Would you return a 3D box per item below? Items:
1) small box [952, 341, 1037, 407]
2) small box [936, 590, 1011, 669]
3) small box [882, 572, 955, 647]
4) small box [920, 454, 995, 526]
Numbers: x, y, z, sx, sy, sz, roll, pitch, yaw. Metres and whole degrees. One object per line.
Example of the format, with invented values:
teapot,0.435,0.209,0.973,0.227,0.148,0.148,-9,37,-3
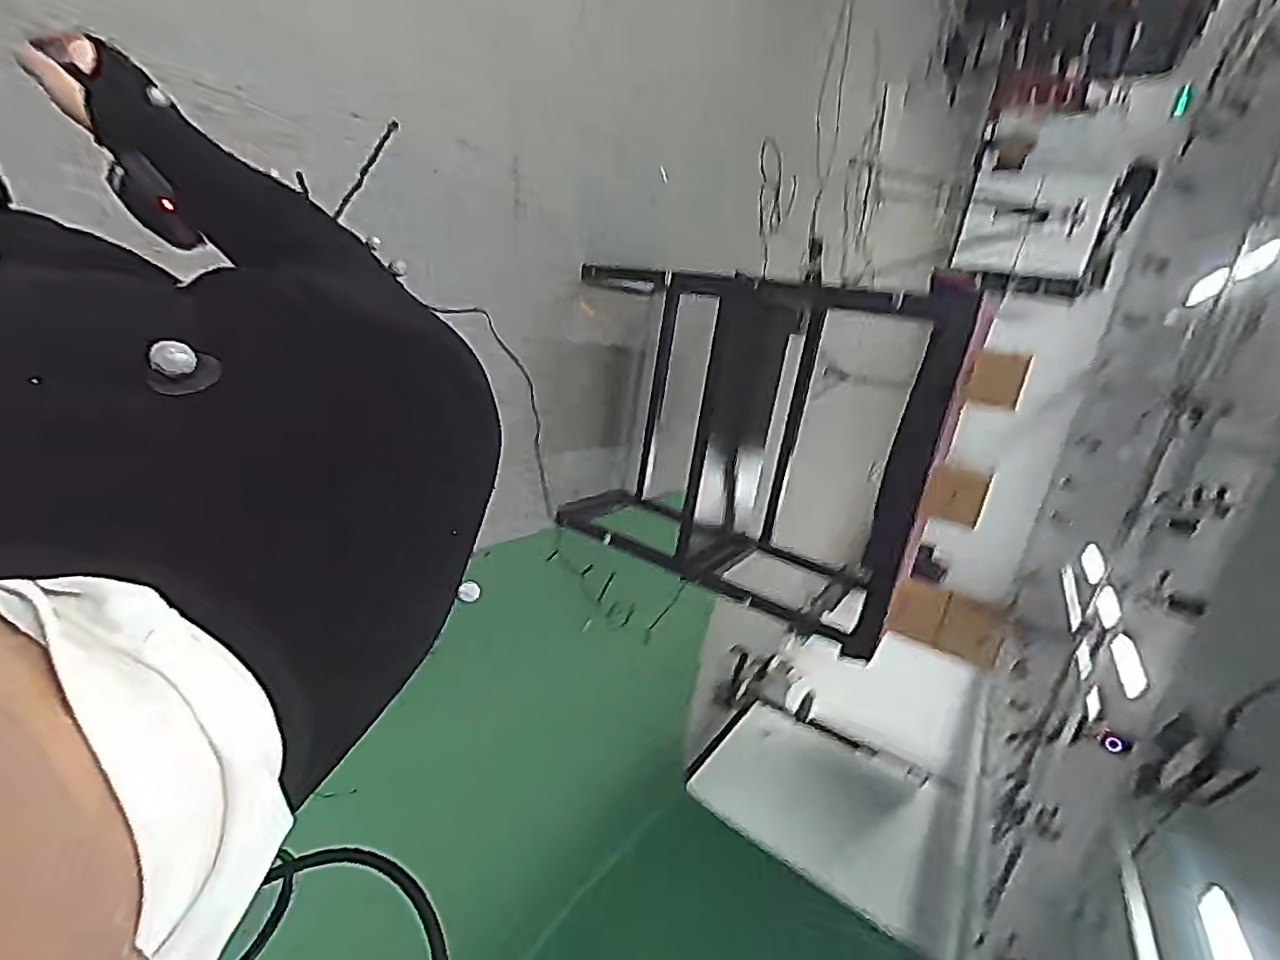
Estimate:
small box,1.049,-0.320,1.606,0.179,0.176,0.168,-19,121,-53
small box,1.083,0.475,1.759,0.168,0.176,0.179,-14,117,-52
small box,0.954,0.435,1.855,0.179,0.176,0.168,-14,117,-52
small box,1.008,0.028,1.723,0.168,0.176,0.179,-15,117,-55
